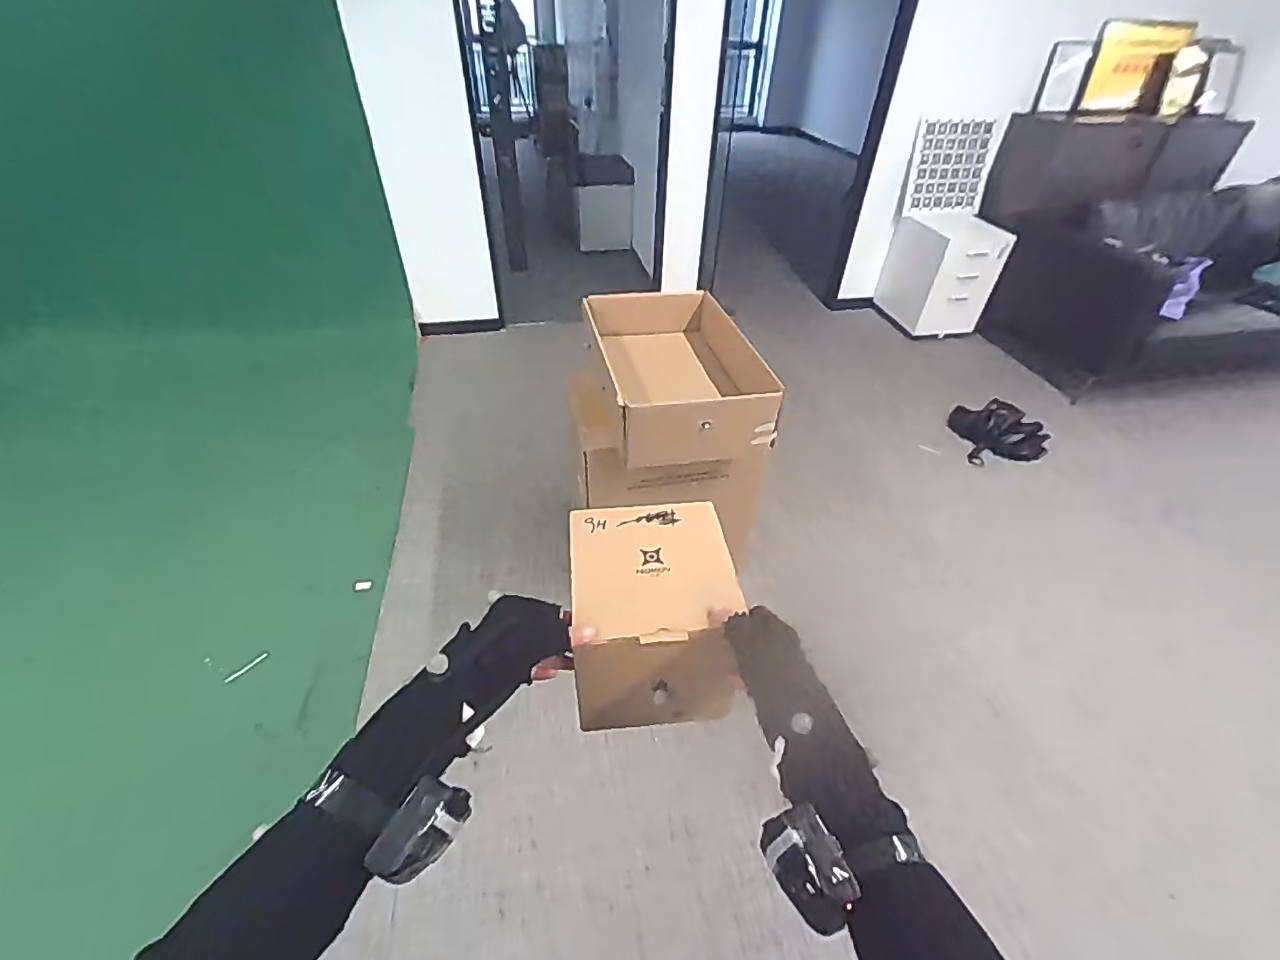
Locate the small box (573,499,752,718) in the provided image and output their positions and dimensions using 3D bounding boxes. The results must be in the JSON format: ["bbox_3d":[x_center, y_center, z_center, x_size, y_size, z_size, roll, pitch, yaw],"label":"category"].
[{"bbox_3d":[0.016,0.145,0.601,0.168,0.176,0.179,-4,40,-5],"label":"small box"}]
